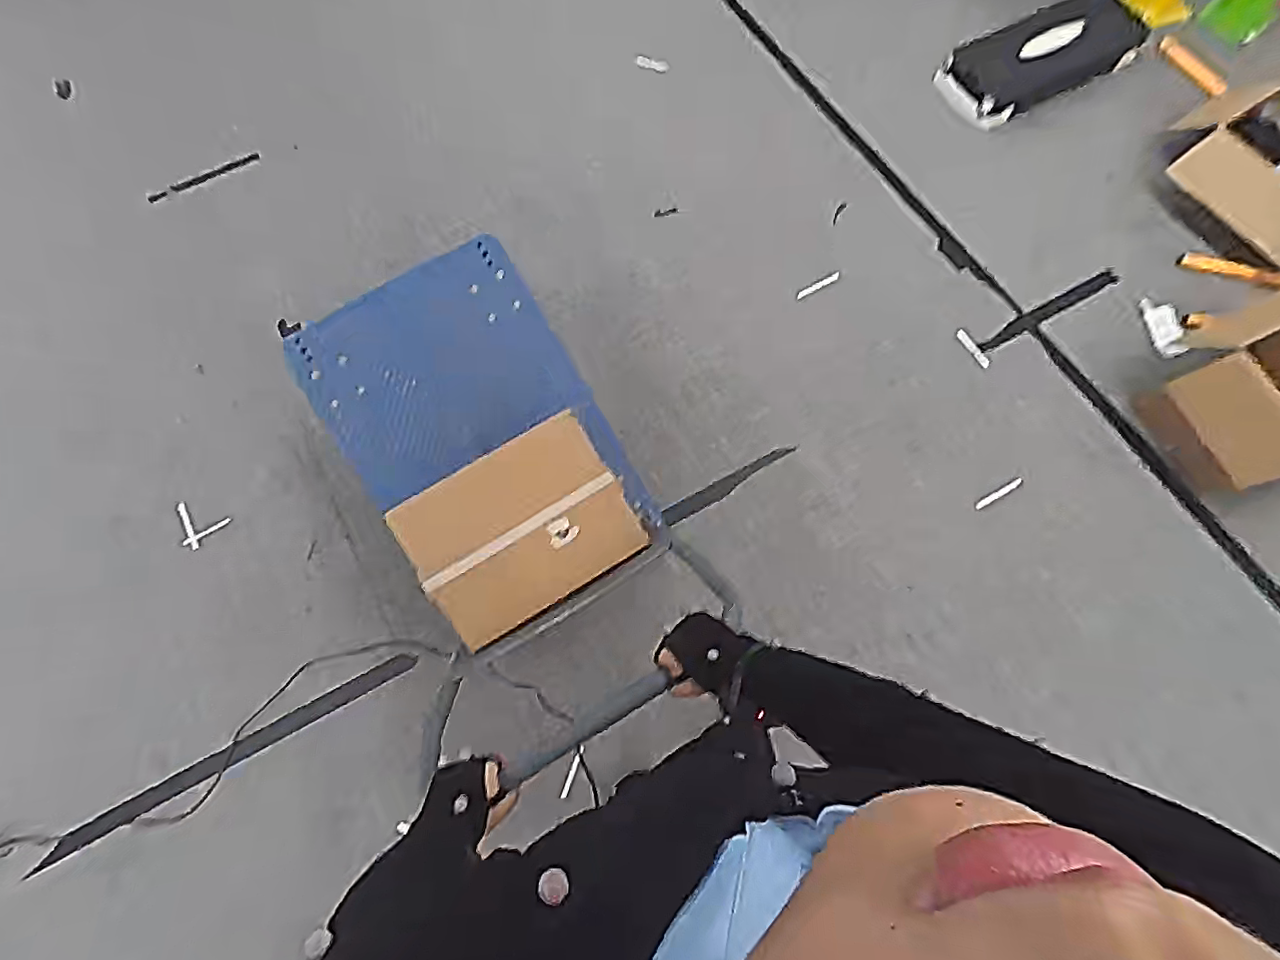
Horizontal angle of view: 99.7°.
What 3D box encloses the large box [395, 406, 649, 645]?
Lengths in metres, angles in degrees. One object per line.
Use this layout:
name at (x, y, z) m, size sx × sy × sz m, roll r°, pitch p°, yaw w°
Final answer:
large box at (-0.246, 0.089, 1.202) m, size 0.408 × 0.320 × 0.320 m, roll -32°, pitch 95°, yaw -7°
